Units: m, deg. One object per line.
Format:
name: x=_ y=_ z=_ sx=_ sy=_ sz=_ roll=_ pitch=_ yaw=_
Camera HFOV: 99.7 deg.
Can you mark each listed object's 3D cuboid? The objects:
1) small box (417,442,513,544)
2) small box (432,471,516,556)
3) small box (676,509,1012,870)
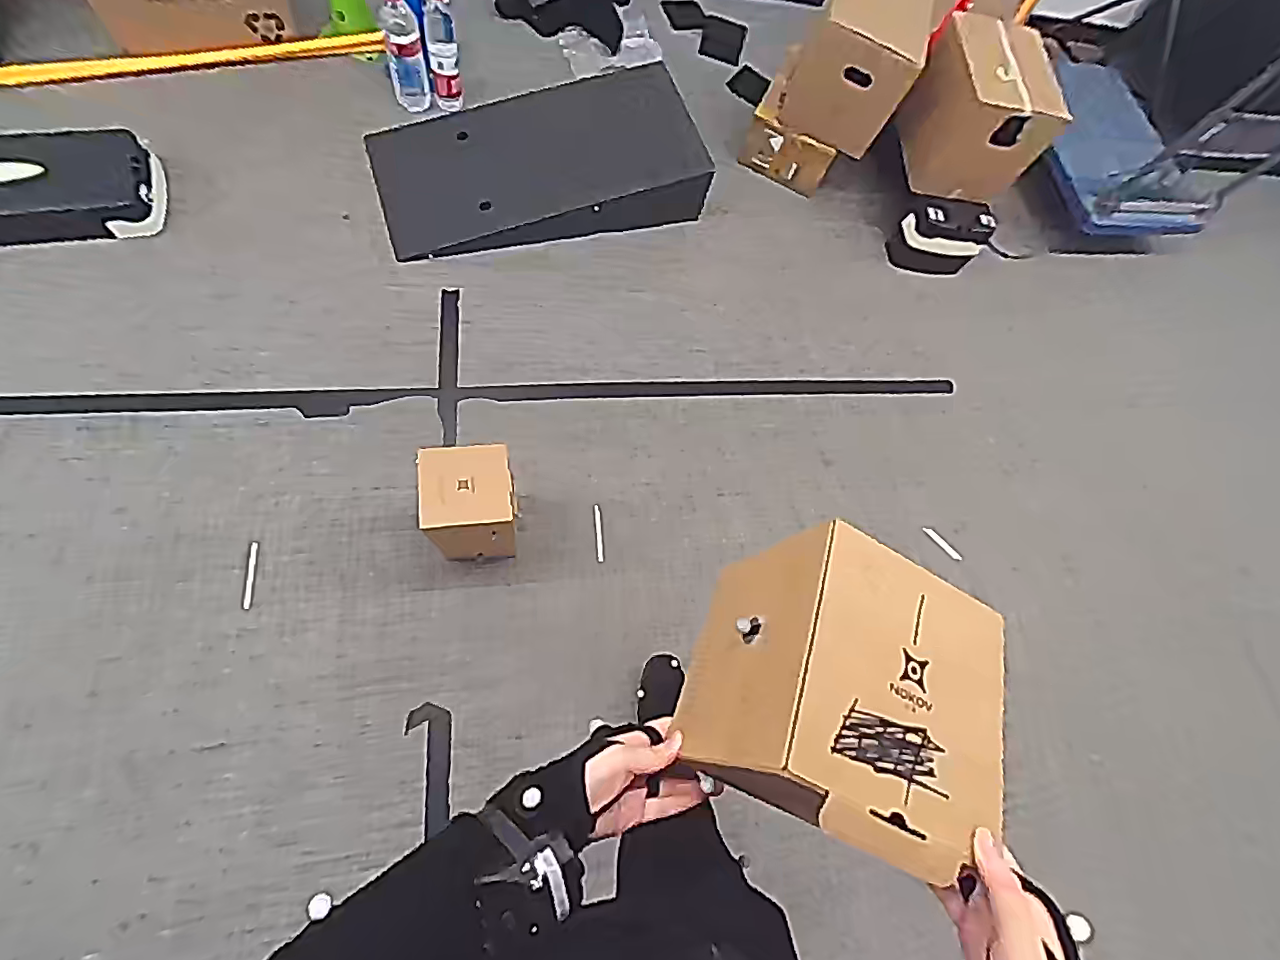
small box: x=-0.355 y=0.030 z=1.120 sx=0.179 sy=0.176 sz=0.168 roll=-4 pitch=71 yaw=-12
small box: x=-0.384 y=0.081 z=1.273 sx=0.179 sy=0.176 sz=0.168 roll=-2 pitch=71 yaw=-13
small box: x=0.147 y=0.156 z=0.419 sx=0.168 sy=0.176 sz=0.179 roll=29 pitch=59 yaw=-10
